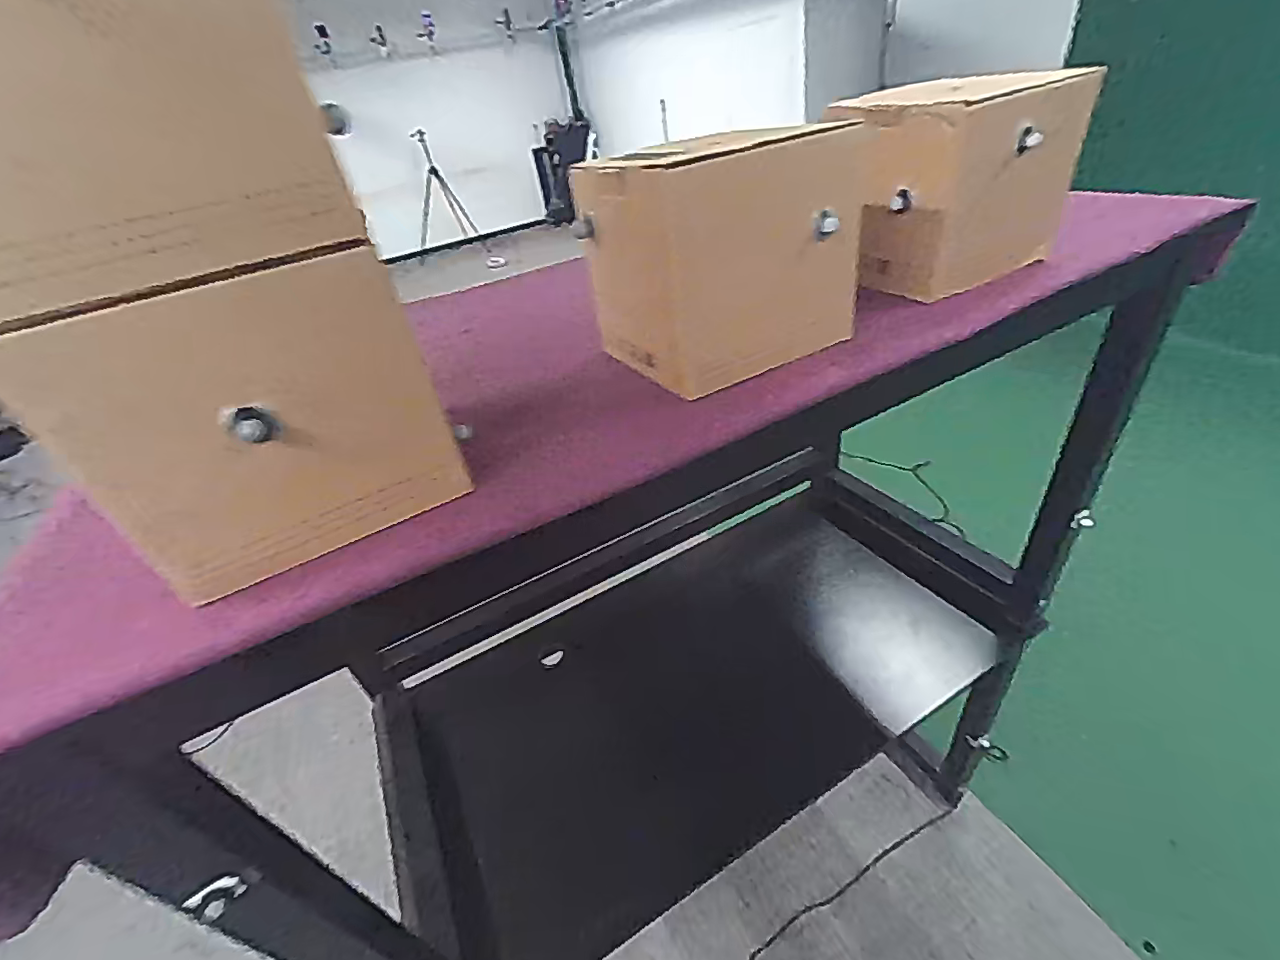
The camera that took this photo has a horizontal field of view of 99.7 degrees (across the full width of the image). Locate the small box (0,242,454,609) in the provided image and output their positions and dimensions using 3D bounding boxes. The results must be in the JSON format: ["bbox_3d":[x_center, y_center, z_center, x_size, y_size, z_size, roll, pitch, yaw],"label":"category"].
[{"bbox_3d":[-0.241,-0.052,0.360,0.179,0.176,0.168,-26,37,-20],"label":"small box"}]

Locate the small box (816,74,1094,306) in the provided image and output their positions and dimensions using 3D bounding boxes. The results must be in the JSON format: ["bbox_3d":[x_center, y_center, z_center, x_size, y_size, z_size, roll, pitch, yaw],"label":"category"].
[{"bbox_3d":[0.303,-0.295,0.559,0.179,0.176,0.168,-23,39,-17],"label":"small box"}]

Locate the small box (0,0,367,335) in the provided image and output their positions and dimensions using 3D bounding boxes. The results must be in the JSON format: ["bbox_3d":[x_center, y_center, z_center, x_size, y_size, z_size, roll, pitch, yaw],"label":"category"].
[{"bbox_3d":[-0.266,-0.187,0.269,0.179,0.176,0.168,-24,37,-19],"label":"small box"}]
